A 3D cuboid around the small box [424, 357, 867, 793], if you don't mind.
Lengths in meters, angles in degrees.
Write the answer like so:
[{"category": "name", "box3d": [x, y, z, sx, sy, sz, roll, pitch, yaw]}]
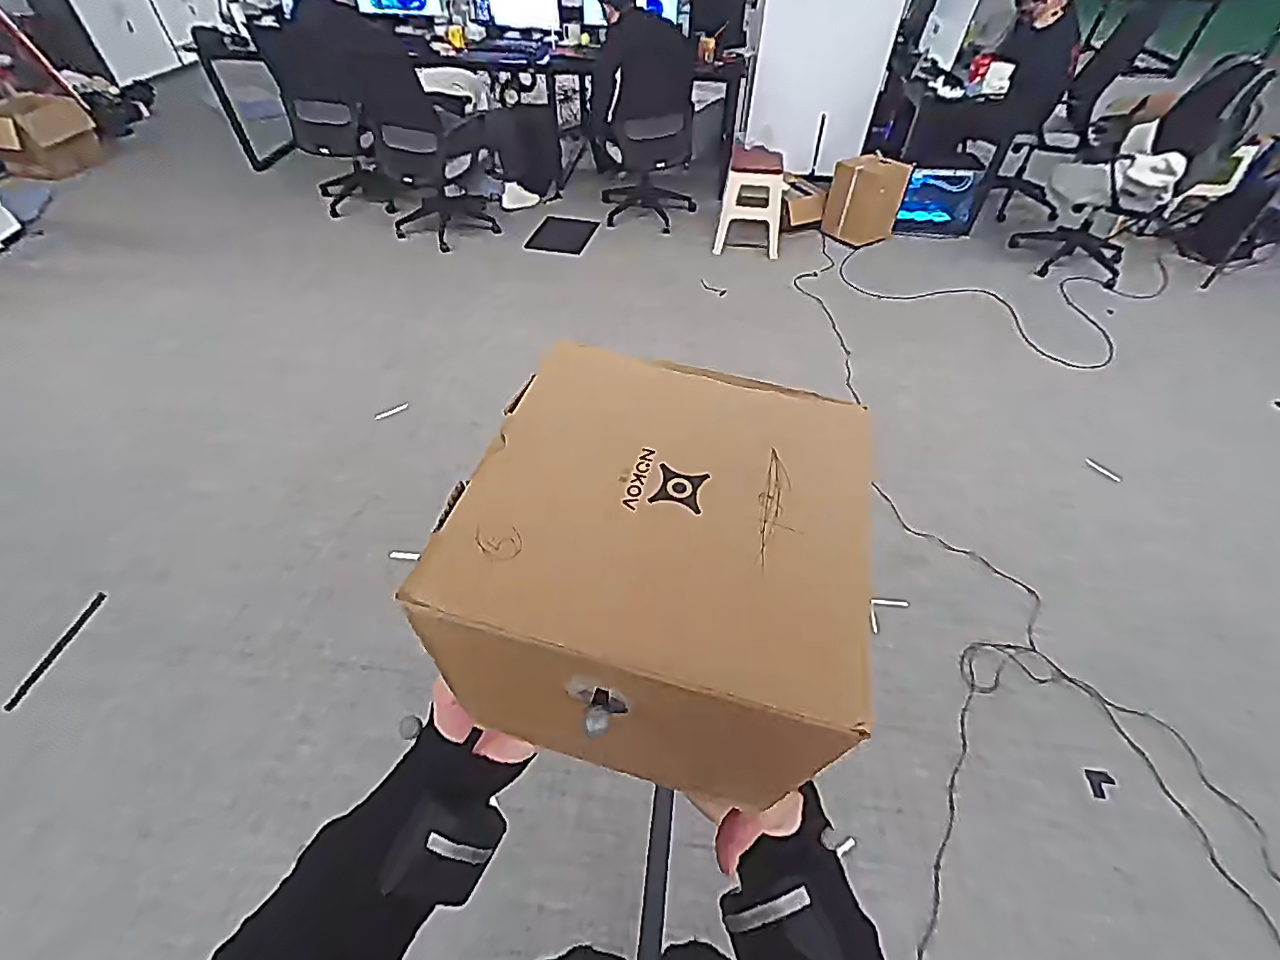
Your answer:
[{"category": "small box", "box3d": [0.013, 0.059, 0.312, 0.179, 0.176, 0.168, 14, 51, 6]}]
